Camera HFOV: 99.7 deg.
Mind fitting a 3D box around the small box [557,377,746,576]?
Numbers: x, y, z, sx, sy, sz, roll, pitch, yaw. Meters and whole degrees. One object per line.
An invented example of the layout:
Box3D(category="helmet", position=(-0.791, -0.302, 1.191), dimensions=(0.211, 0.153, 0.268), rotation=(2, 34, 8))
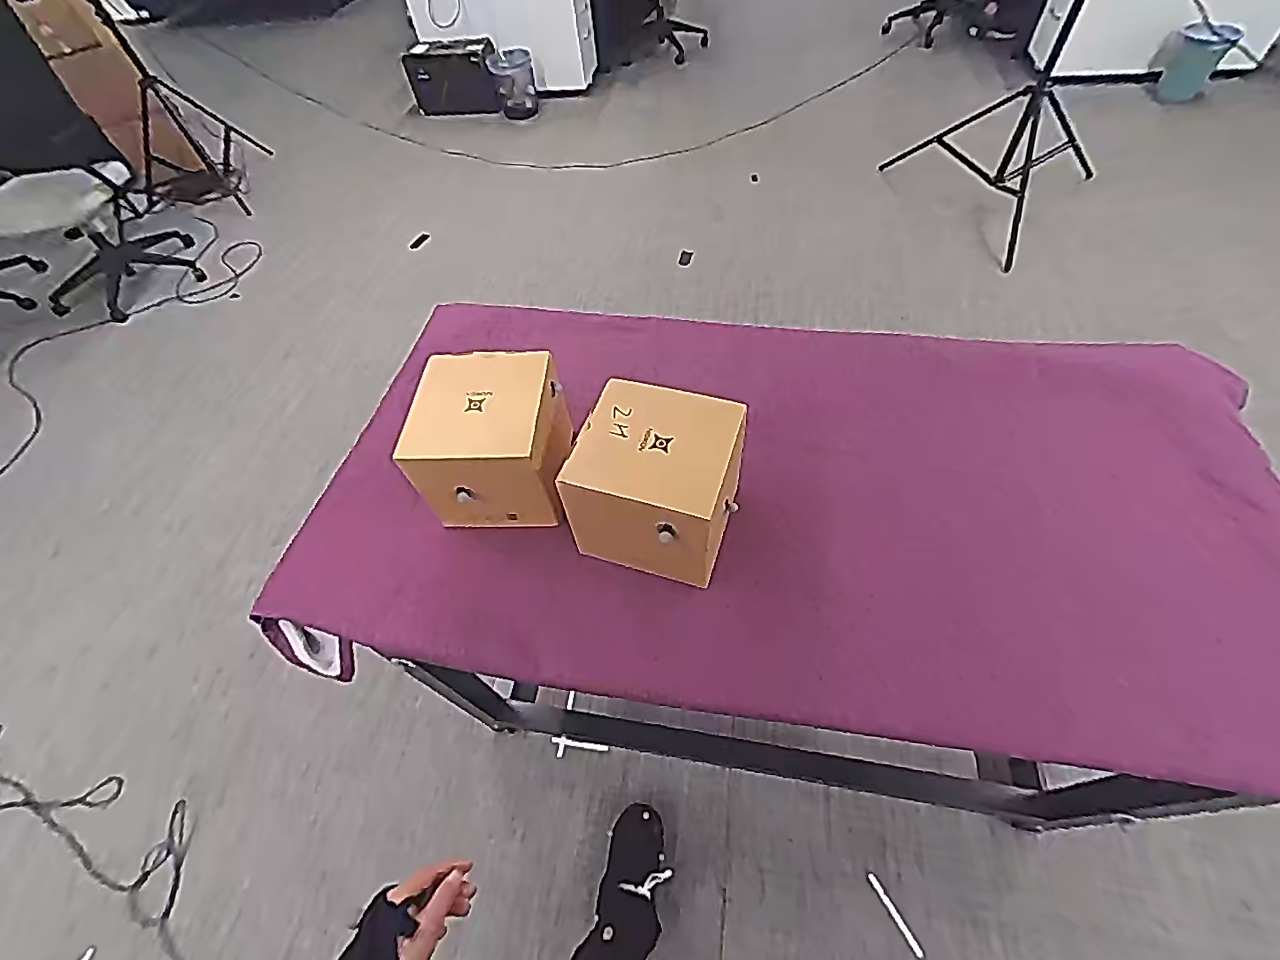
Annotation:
Box3D(category="small box", position=(0.023, 0.001, 0.674), dimensions=(0.179, 0.176, 0.168), rotation=(13, 56, 15))

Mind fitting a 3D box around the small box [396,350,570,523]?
Box3D(category="small box", position=(-0.195, -0.051, 0.735), dimensions=(0.168, 0.176, 0.179), rotation=(-2, 55, 5))
